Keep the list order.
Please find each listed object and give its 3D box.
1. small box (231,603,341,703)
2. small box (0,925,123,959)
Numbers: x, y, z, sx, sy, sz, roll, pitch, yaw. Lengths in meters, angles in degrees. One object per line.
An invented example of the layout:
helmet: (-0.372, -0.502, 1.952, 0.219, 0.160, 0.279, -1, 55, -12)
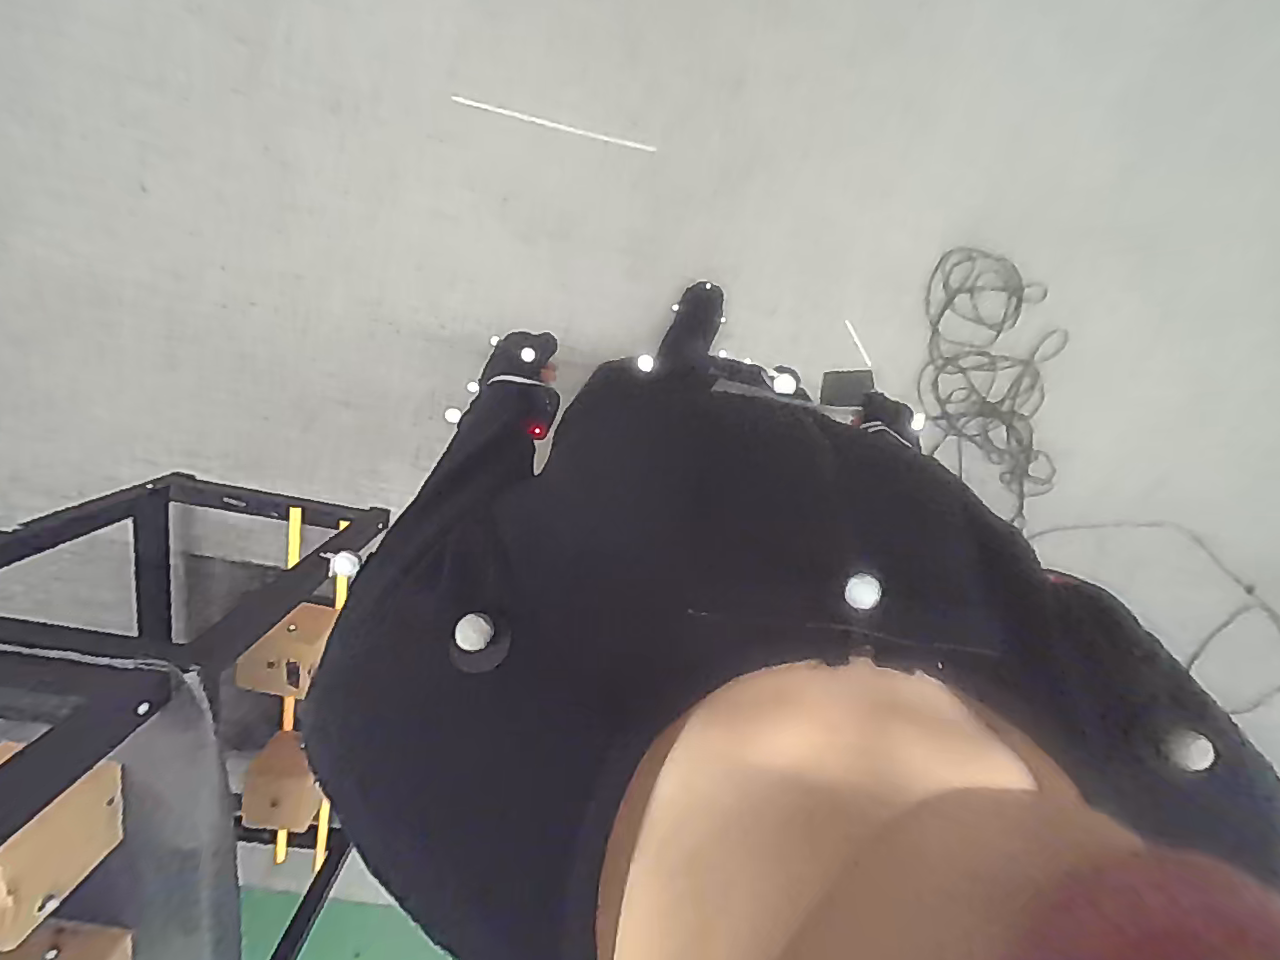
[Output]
small box: (-0.900, 0.436, 1.389, 0.179, 0.176, 0.168, 14, 105, -7)
small box: (-0.981, 0.869, 0.861, 0.168, 0.176, 0.179, 14, 105, -6)
